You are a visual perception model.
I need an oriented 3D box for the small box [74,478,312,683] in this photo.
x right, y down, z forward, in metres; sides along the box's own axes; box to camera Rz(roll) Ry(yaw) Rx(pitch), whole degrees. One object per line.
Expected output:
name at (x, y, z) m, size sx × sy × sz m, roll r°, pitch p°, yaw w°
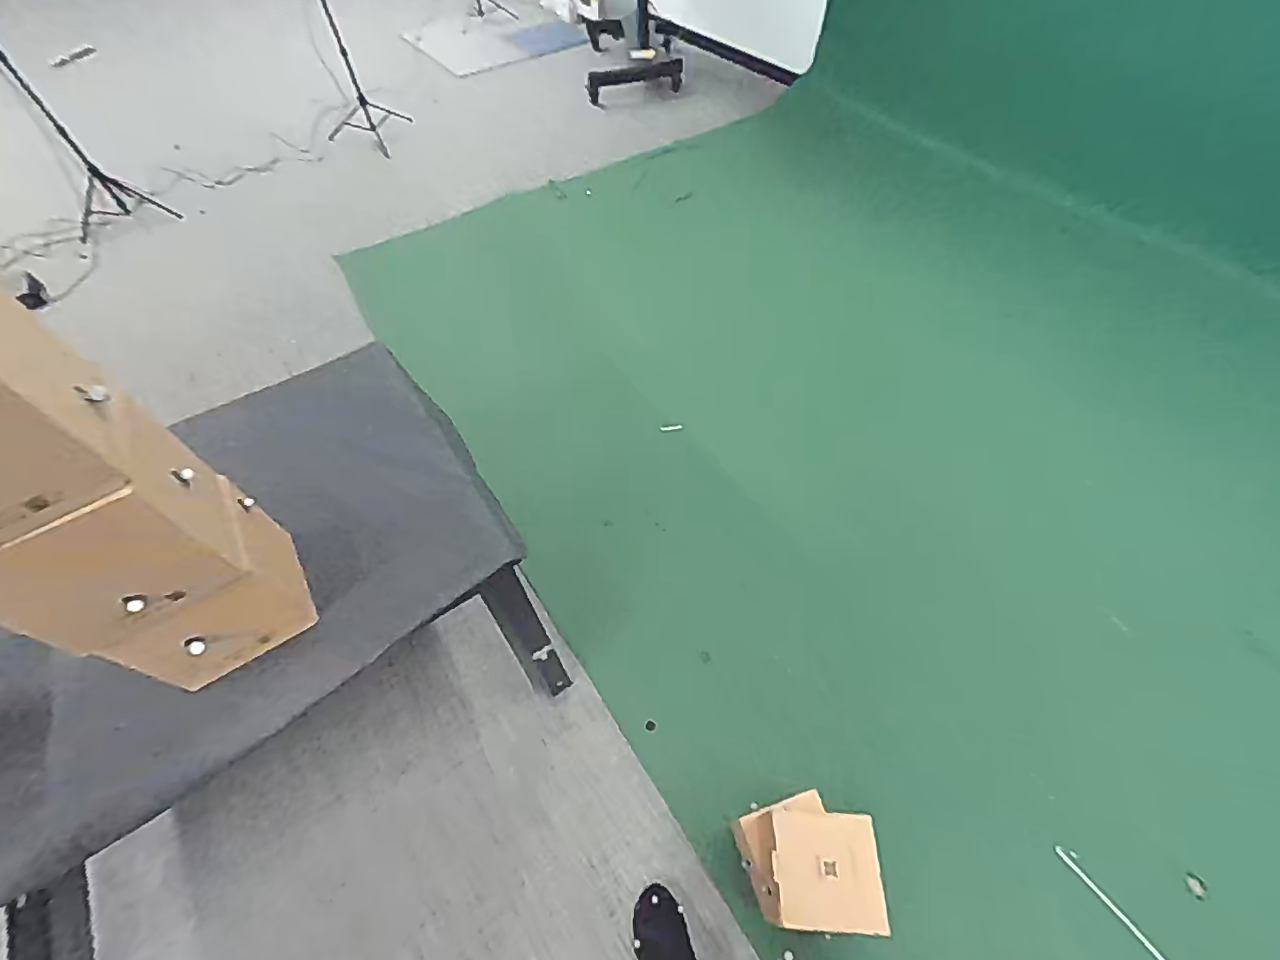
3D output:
small box at (-0.560, 0.136, 0.695) m, size 0.168 × 0.176 × 0.179 m, roll -30°, pitch 58°, yaw -18°

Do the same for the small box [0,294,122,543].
small box at (-0.573, -0.055, 0.428) m, size 0.168 × 0.176 × 0.179 m, roll -34°, pitch 59°, yaw -19°

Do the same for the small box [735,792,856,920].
small box at (0.306, 0.770, 1.113) m, size 0.179 × 0.176 × 0.168 m, roll -16°, pitch 56°, yaw -10°
